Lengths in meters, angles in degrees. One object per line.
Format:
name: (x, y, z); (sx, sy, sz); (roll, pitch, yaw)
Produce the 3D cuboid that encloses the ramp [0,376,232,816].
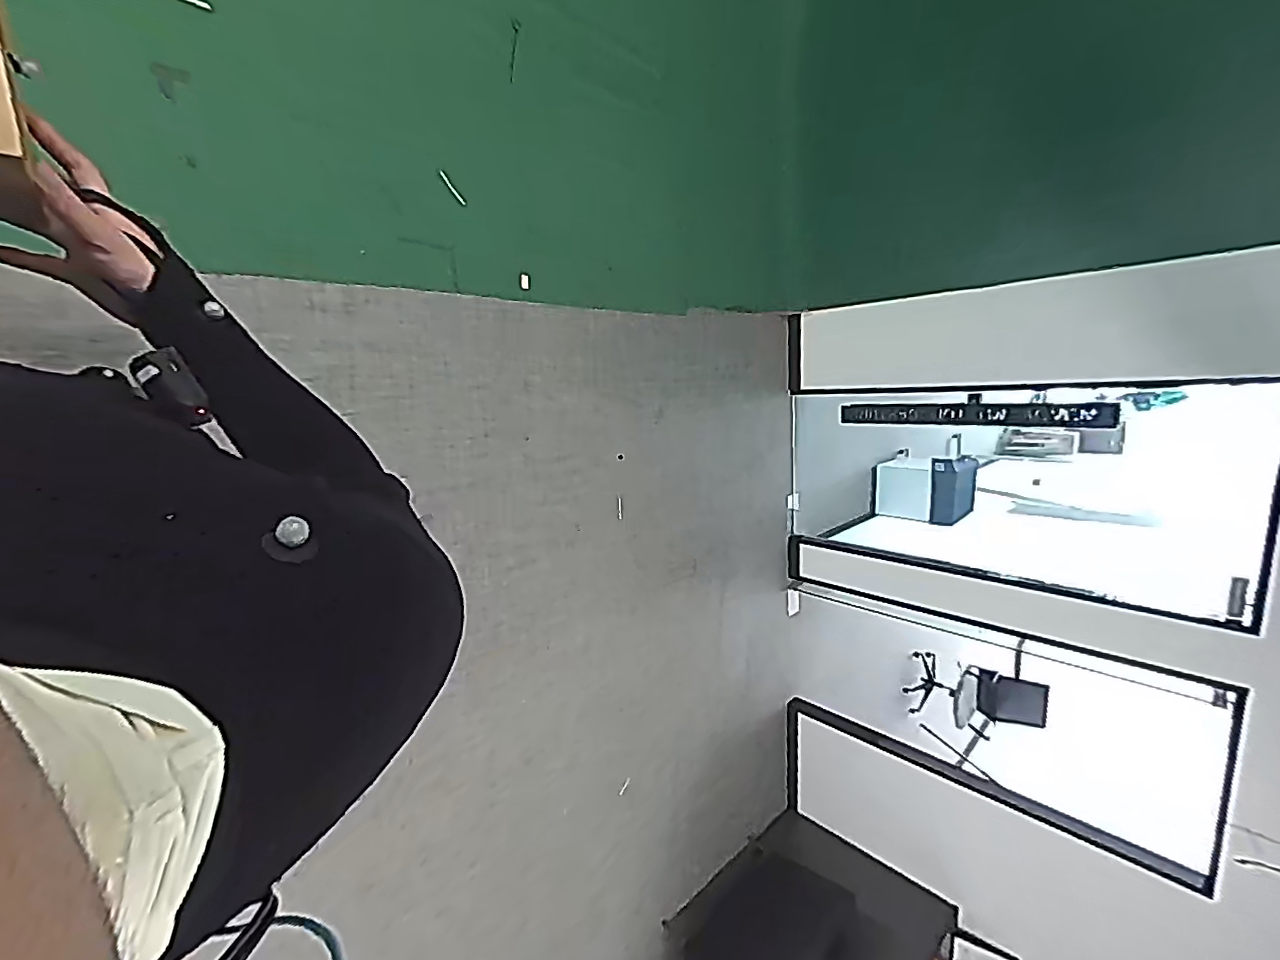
ramp: (-1.298, 0.272, 1.224); (0.509, 0.206, 0.991); (-15, 107, -43)
